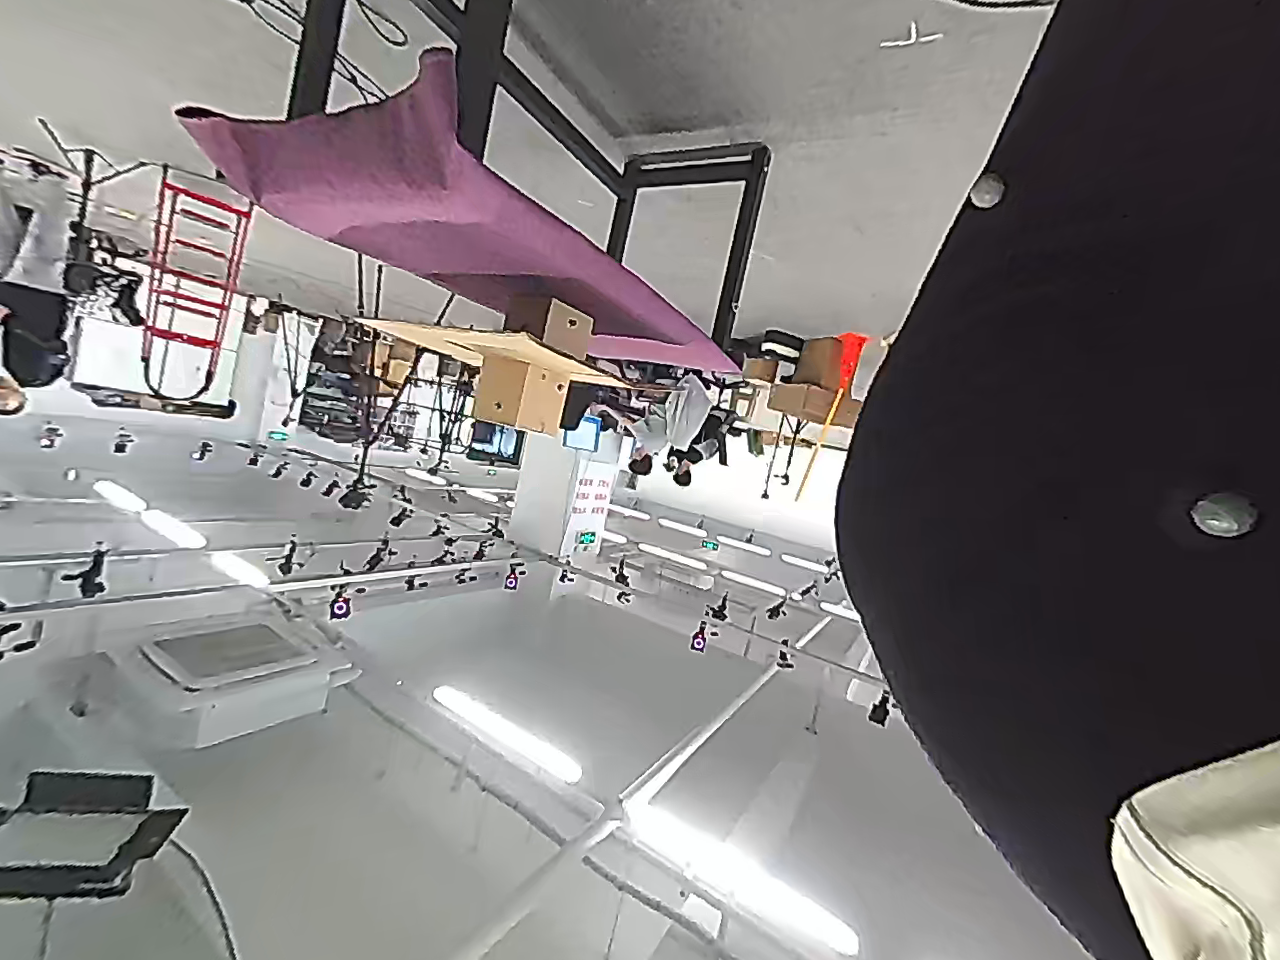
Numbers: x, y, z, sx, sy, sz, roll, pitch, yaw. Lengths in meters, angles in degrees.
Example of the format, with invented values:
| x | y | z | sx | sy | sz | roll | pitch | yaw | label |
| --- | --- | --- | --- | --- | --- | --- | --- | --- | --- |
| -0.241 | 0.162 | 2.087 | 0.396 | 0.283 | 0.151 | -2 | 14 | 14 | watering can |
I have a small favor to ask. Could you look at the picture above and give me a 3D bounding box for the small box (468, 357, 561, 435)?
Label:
| x | y | z | sx | sy | sz | roll | pitch | yaw | label |
| --- | --- | --- | --- | --- | --- | --- | --- | --- | --- |
| -0.332 | -0.227 | 1.460 | 0.179 | 0.176 | 0.168 | 15 | -178 | 32 | small box |
